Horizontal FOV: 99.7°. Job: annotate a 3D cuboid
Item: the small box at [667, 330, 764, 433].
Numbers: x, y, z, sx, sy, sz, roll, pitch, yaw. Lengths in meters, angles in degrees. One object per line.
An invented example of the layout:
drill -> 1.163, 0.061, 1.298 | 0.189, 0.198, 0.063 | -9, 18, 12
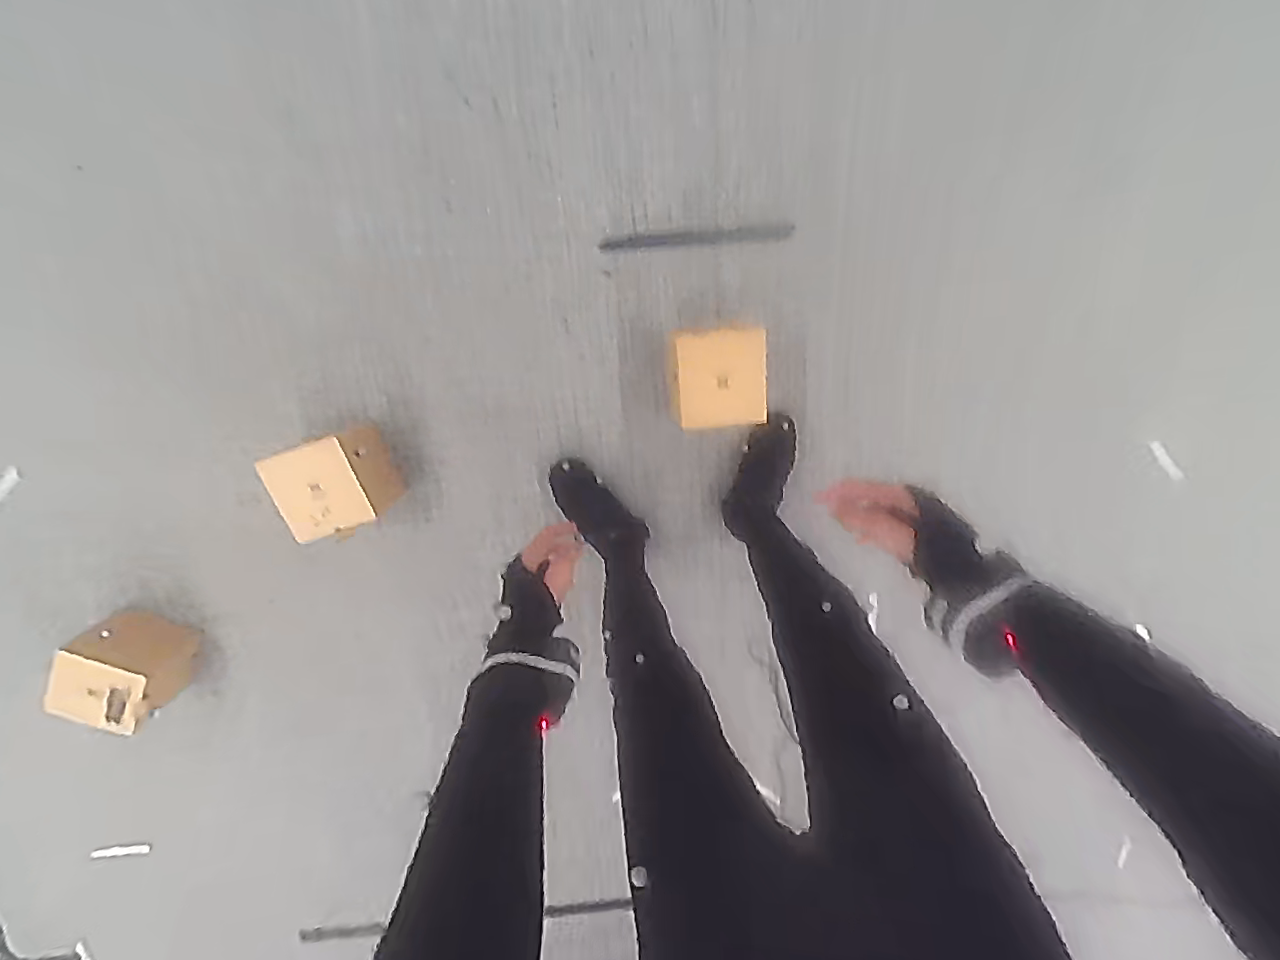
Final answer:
small box -> 0.147, -0.202, 1.083 | 0.168, 0.176, 0.179 | -6, 107, -2

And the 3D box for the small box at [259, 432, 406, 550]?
small box -> -0.609, 0.011, 1.096 | 0.168, 0.176, 0.179 | -18, 108, 2
